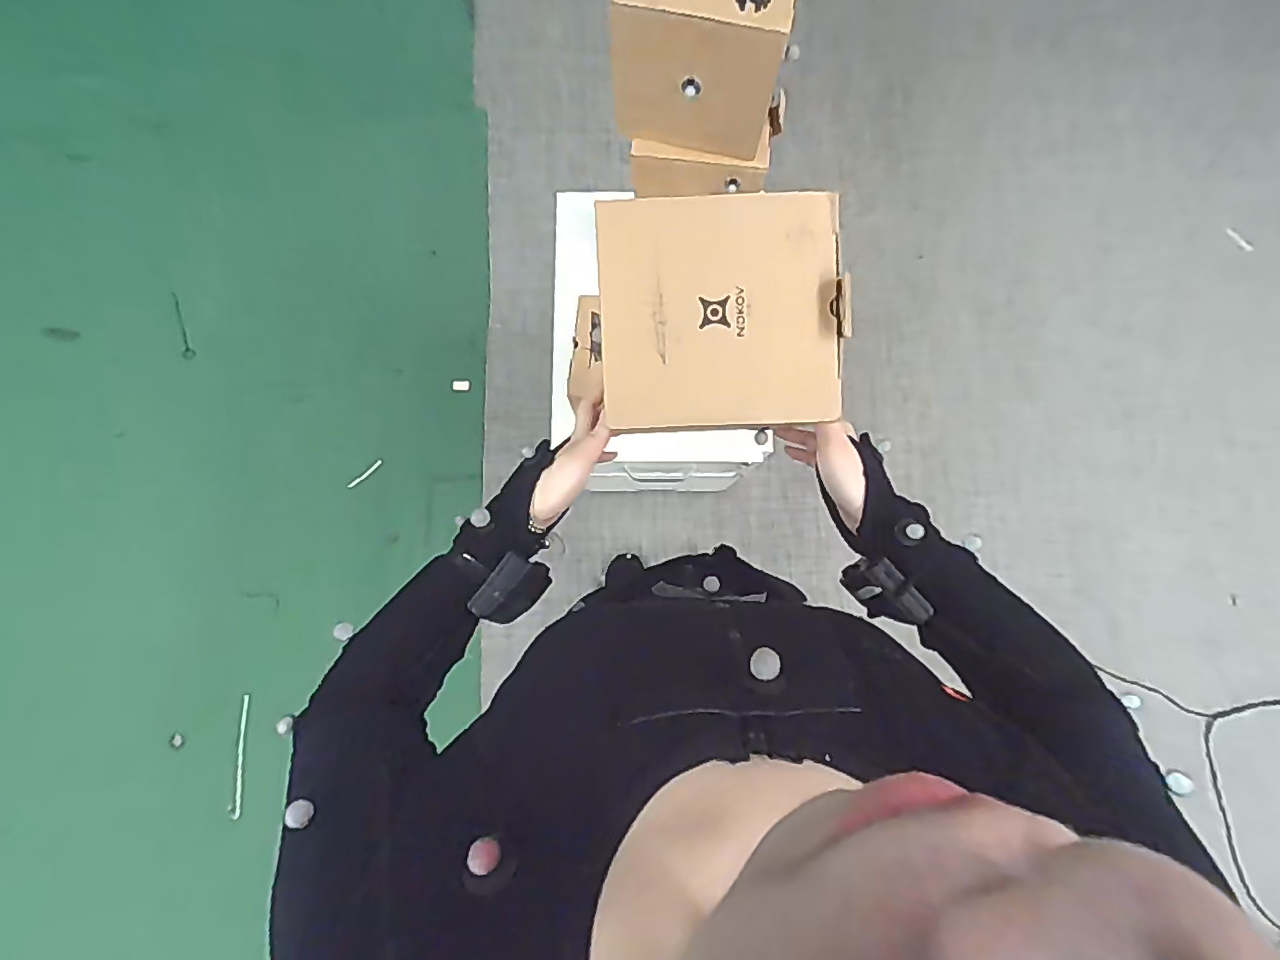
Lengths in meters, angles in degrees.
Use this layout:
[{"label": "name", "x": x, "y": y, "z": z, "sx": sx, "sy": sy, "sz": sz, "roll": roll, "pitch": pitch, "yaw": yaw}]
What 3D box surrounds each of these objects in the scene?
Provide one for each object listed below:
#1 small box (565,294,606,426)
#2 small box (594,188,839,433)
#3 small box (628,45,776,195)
[{"label": "small box", "x": -0.017, "y": -0.184, "z": 0.890, "sx": 0.179, "sy": 0.176, "sz": 0.168, "roll": 6, "pitch": 81, "yaw": 0}, {"label": "small box", "x": 0.057, "y": -0.128, "z": 0.470, "sx": 0.179, "sy": 0.176, "sz": 0.168, "roll": -3, "pitch": 92, "yaw": 1}, {"label": "small box", "x": 0.081, "y": -0.465, "z": 0.767, "sx": 0.179, "sy": 0.176, "sz": 0.168, "roll": 6, "pitch": 82, "yaw": 1}]
